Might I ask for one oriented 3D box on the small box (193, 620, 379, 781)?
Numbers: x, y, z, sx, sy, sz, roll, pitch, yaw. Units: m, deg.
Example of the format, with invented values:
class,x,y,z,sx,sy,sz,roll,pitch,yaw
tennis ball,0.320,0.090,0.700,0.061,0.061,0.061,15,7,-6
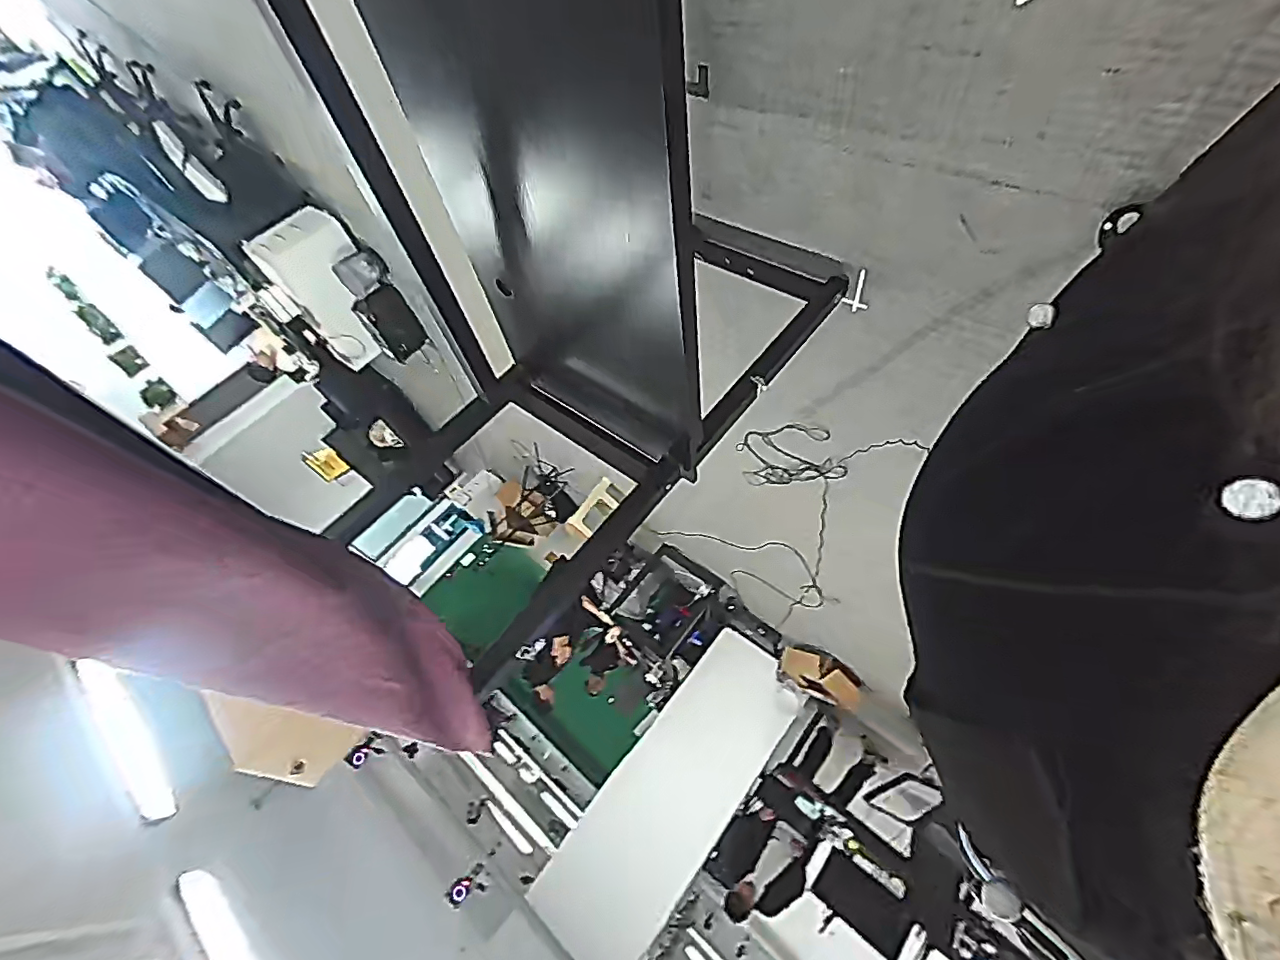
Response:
class,x,y,z,sx,sy,sz,roll,pitch,yaw
small box,-0.575,0.356,0.897,0.179,0.176,0.168,31,157,32
